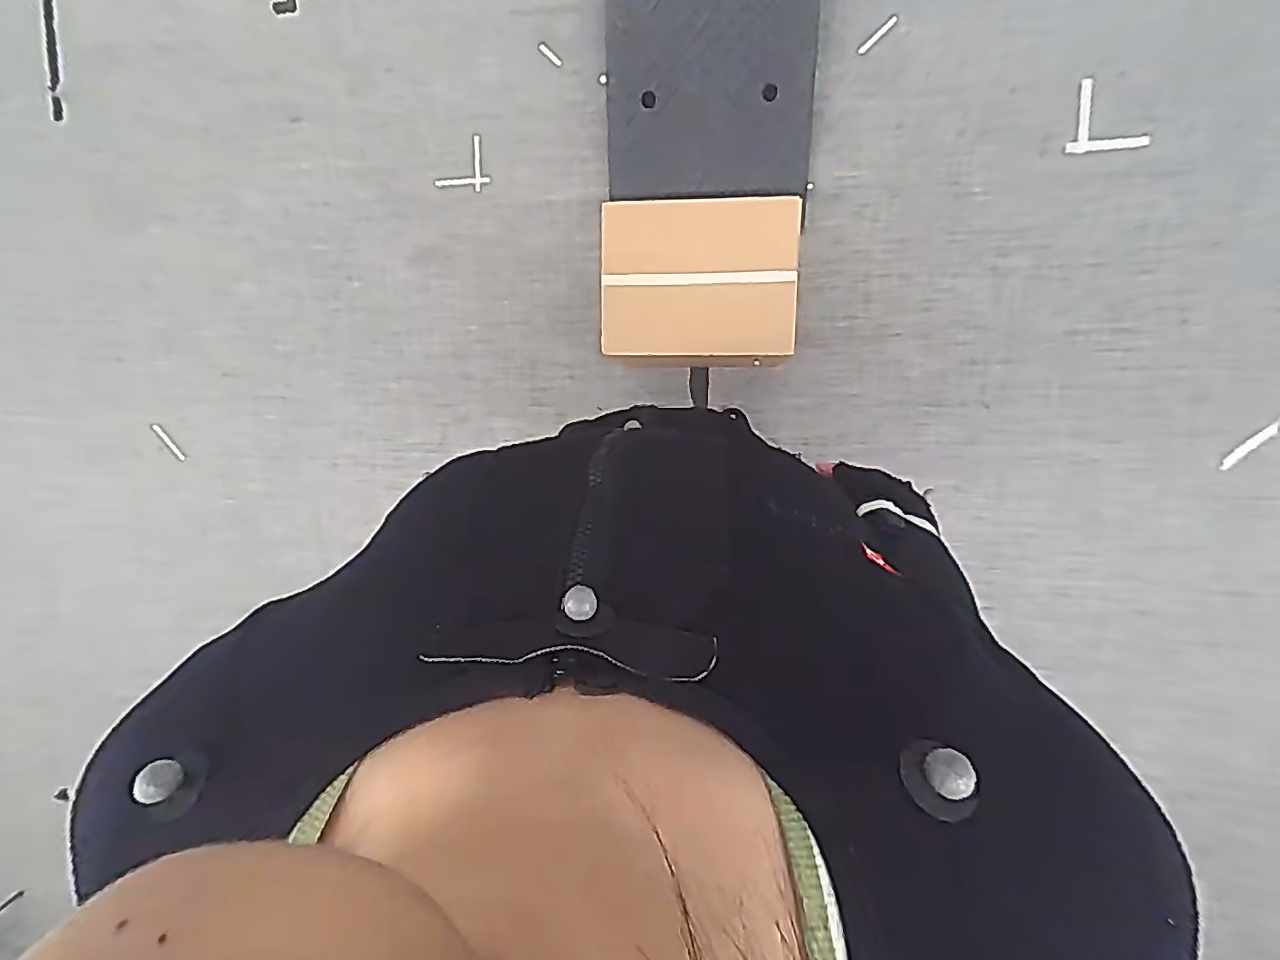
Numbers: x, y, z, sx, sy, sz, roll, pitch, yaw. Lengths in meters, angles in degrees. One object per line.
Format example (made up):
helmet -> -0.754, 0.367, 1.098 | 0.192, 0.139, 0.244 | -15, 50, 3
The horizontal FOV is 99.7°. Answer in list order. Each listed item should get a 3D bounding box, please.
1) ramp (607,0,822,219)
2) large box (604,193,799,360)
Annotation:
ramp -> 0.167, -1.125, 1.221 | 0.509, 0.206, 0.991 | 0, 99, 6
large box -> 0.143, -0.447, 1.270 | 0.408, 0.320, 0.320 | 2, 97, 7
